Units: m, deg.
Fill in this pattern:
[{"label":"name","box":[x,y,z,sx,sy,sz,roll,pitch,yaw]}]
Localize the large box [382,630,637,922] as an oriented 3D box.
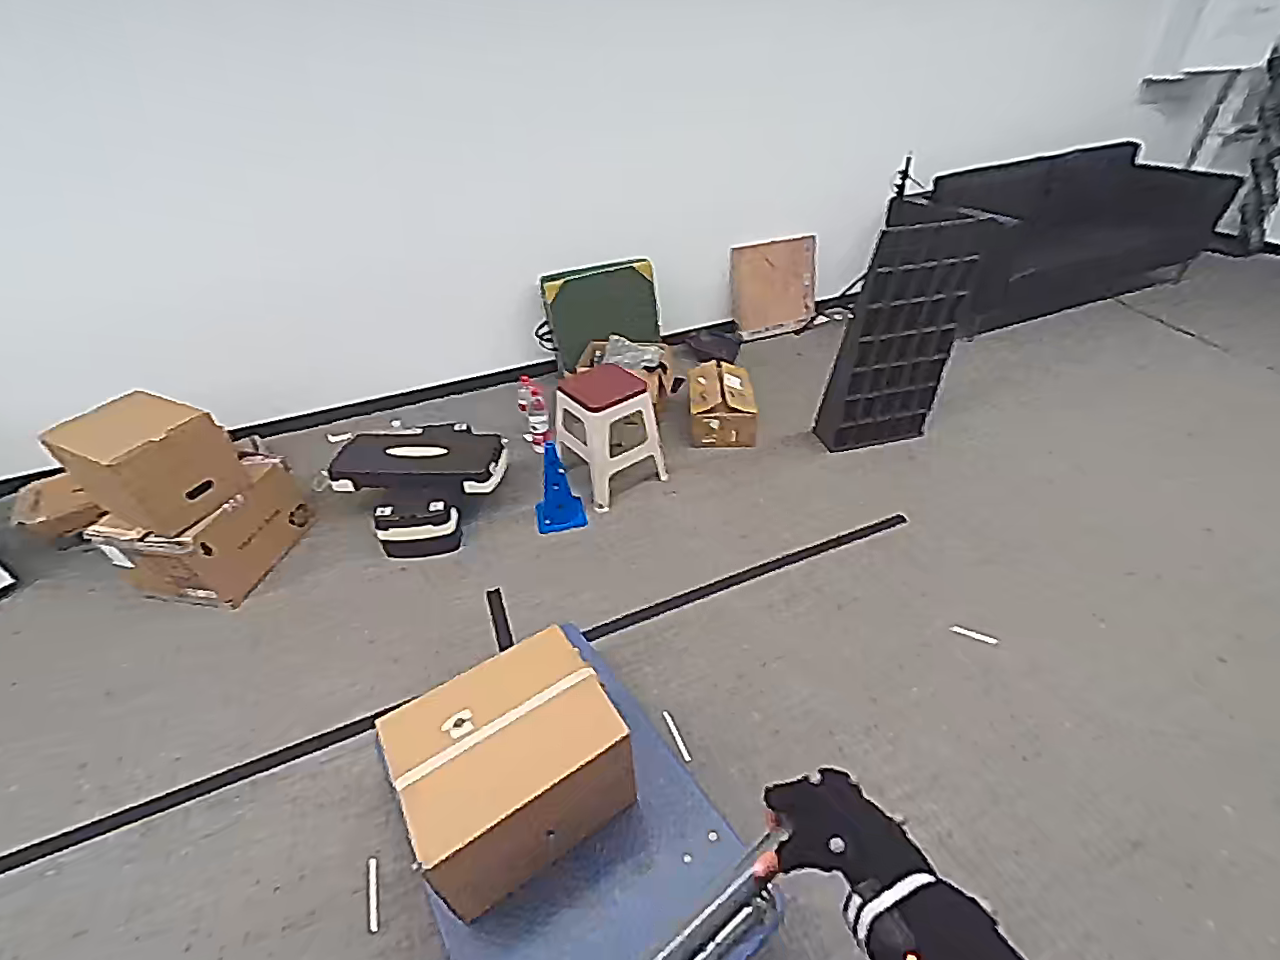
[{"label":"large box","box":[-0.256,0.607,1.146,0.408,0.320,0.320,-25,43,-24]}]
